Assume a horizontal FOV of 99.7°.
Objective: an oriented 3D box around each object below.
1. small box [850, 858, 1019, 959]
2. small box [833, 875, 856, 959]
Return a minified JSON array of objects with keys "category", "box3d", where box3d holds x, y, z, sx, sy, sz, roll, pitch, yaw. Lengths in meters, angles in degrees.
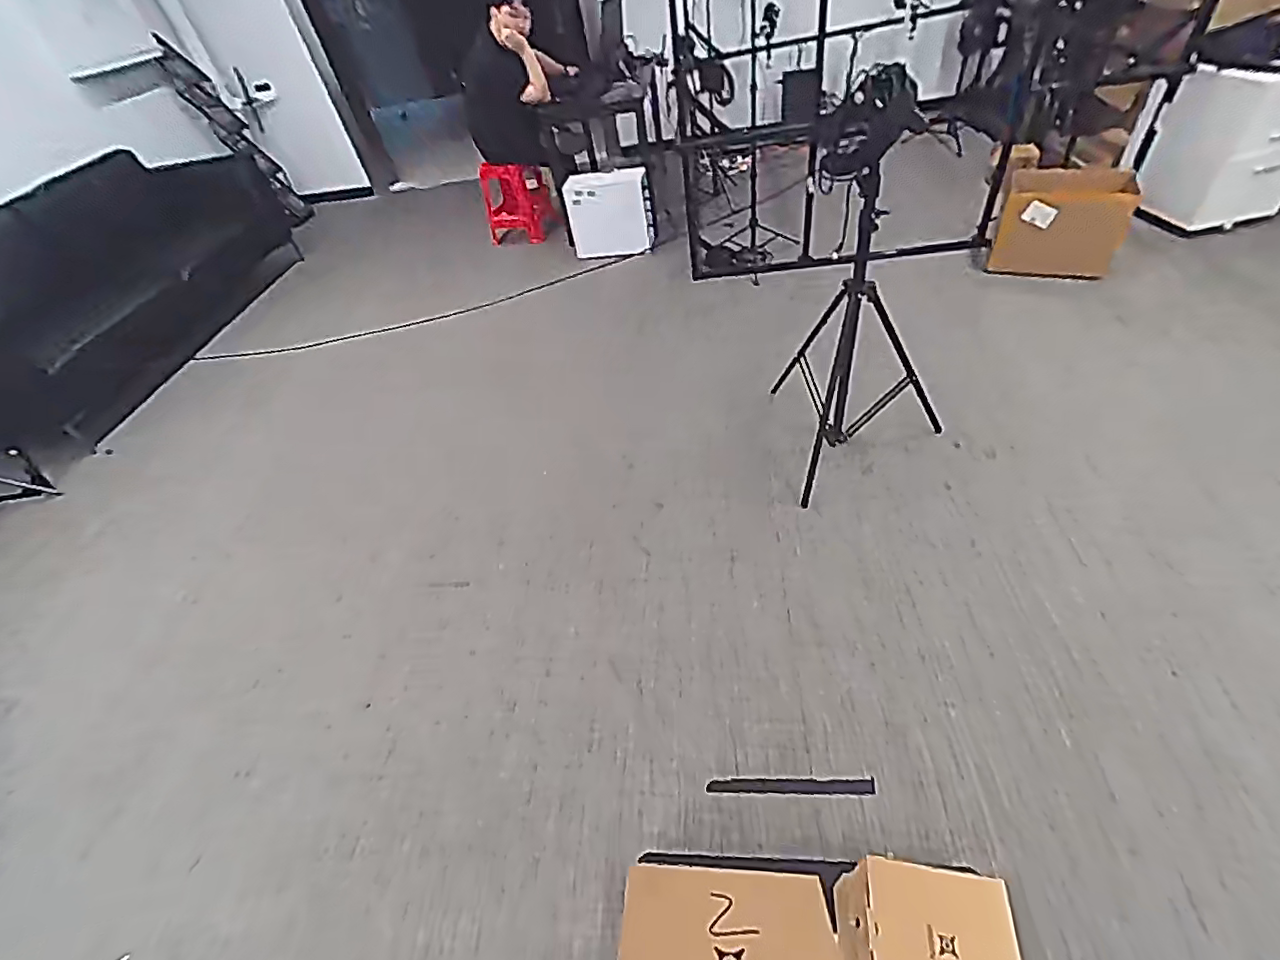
[{"category":"small box","box3d":[0.392,0.642,0.735,0.179,0.176,0.168,1,47,14]},{"category":"small box","box3d":[0.405,0.754,0.853,0.168,0.176,0.179,0,46,11]}]
